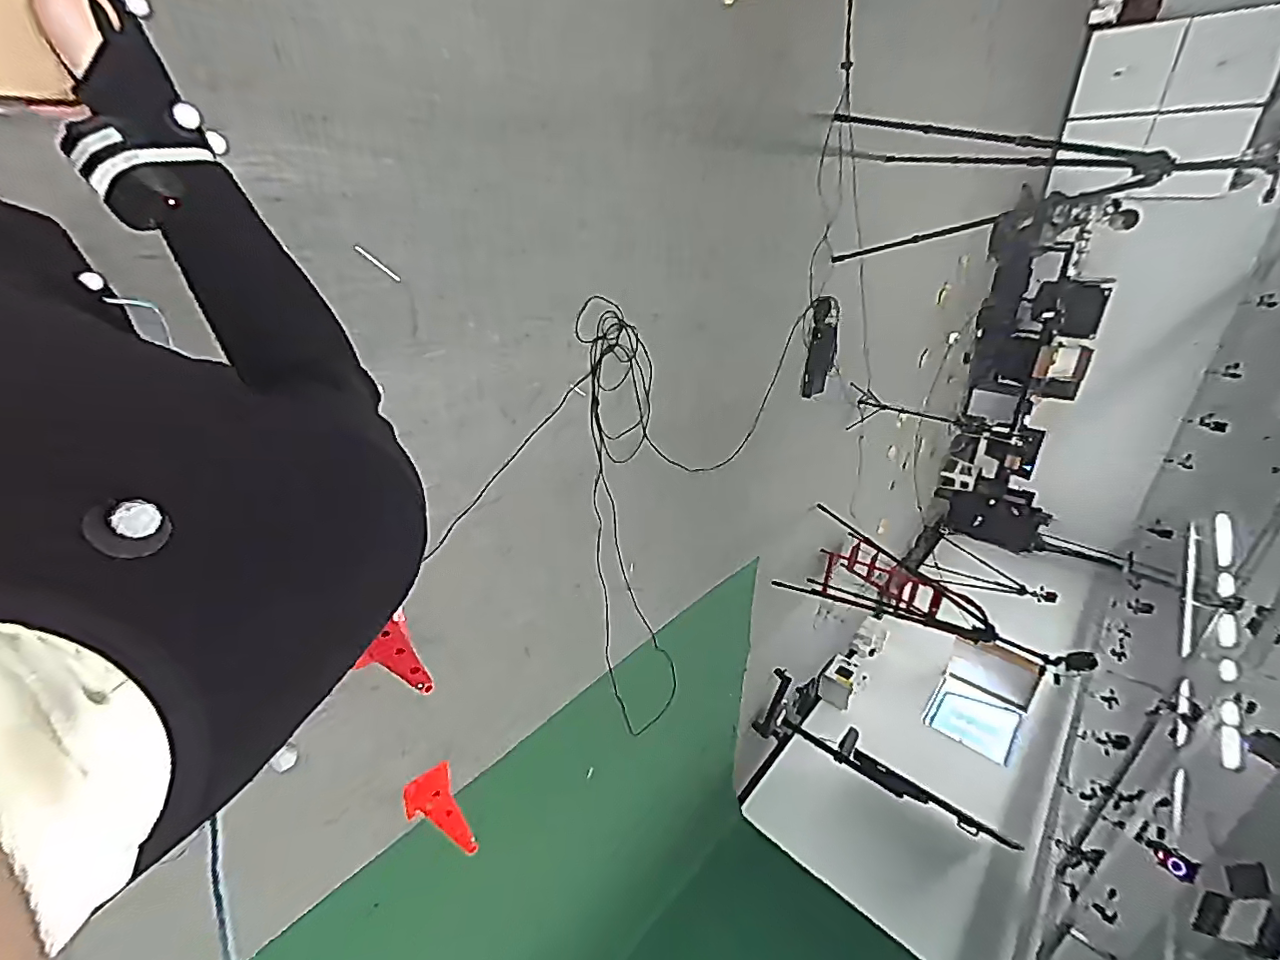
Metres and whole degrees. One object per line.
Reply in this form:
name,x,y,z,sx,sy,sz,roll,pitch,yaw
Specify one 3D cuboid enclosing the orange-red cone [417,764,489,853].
orange-red cone,-0.729,1.380,2.203,0.199,0.360,0.198,-20,122,-46
